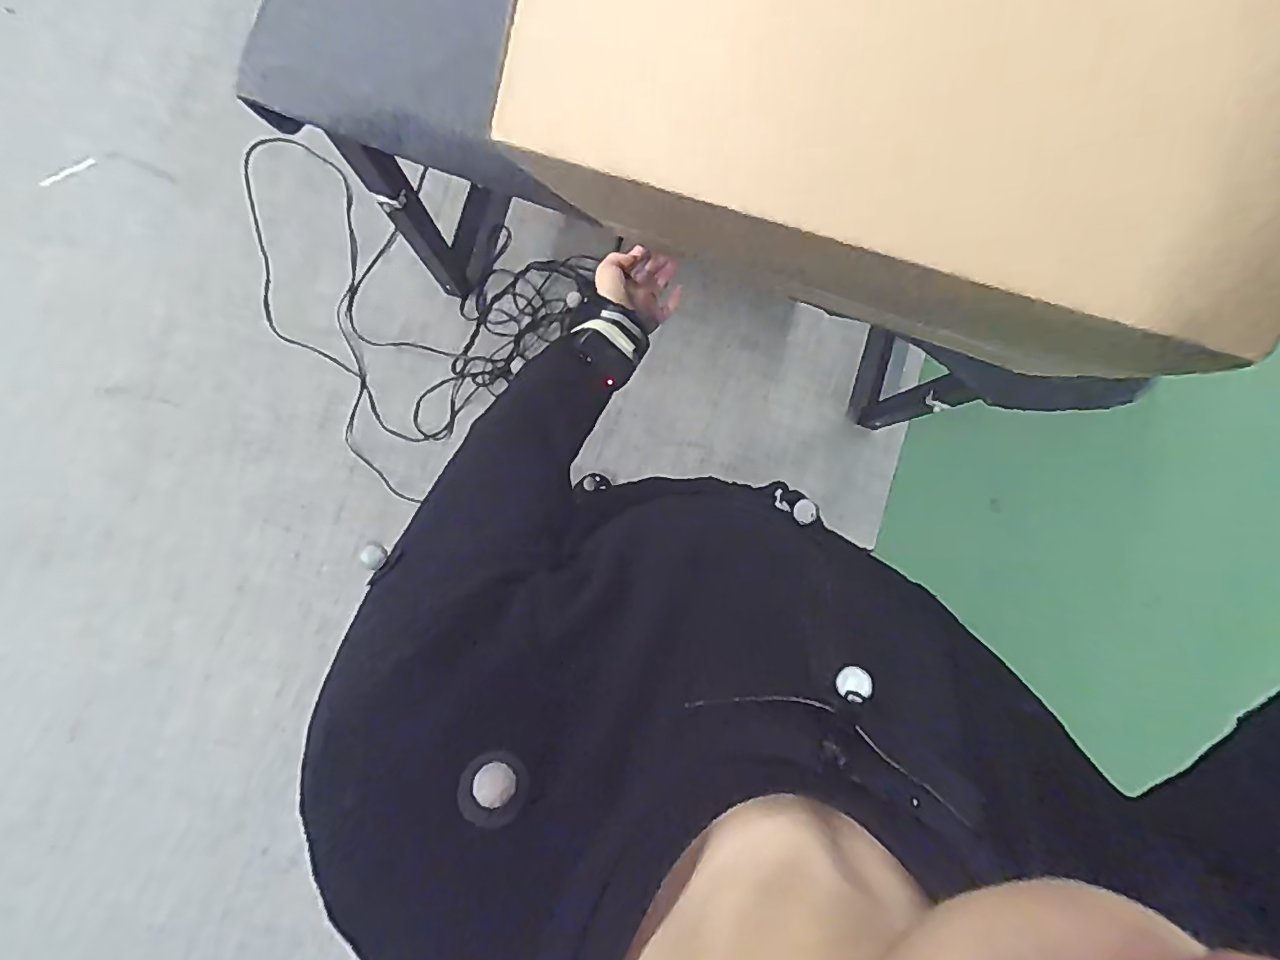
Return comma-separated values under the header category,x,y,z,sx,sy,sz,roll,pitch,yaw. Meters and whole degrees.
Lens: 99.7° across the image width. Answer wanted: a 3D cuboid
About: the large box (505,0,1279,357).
category,x,y,z,sx,sy,sz,roll,pitch,yaw
large box,0.181,-0.293,0.378,0.408,0.320,0.320,22,107,14
